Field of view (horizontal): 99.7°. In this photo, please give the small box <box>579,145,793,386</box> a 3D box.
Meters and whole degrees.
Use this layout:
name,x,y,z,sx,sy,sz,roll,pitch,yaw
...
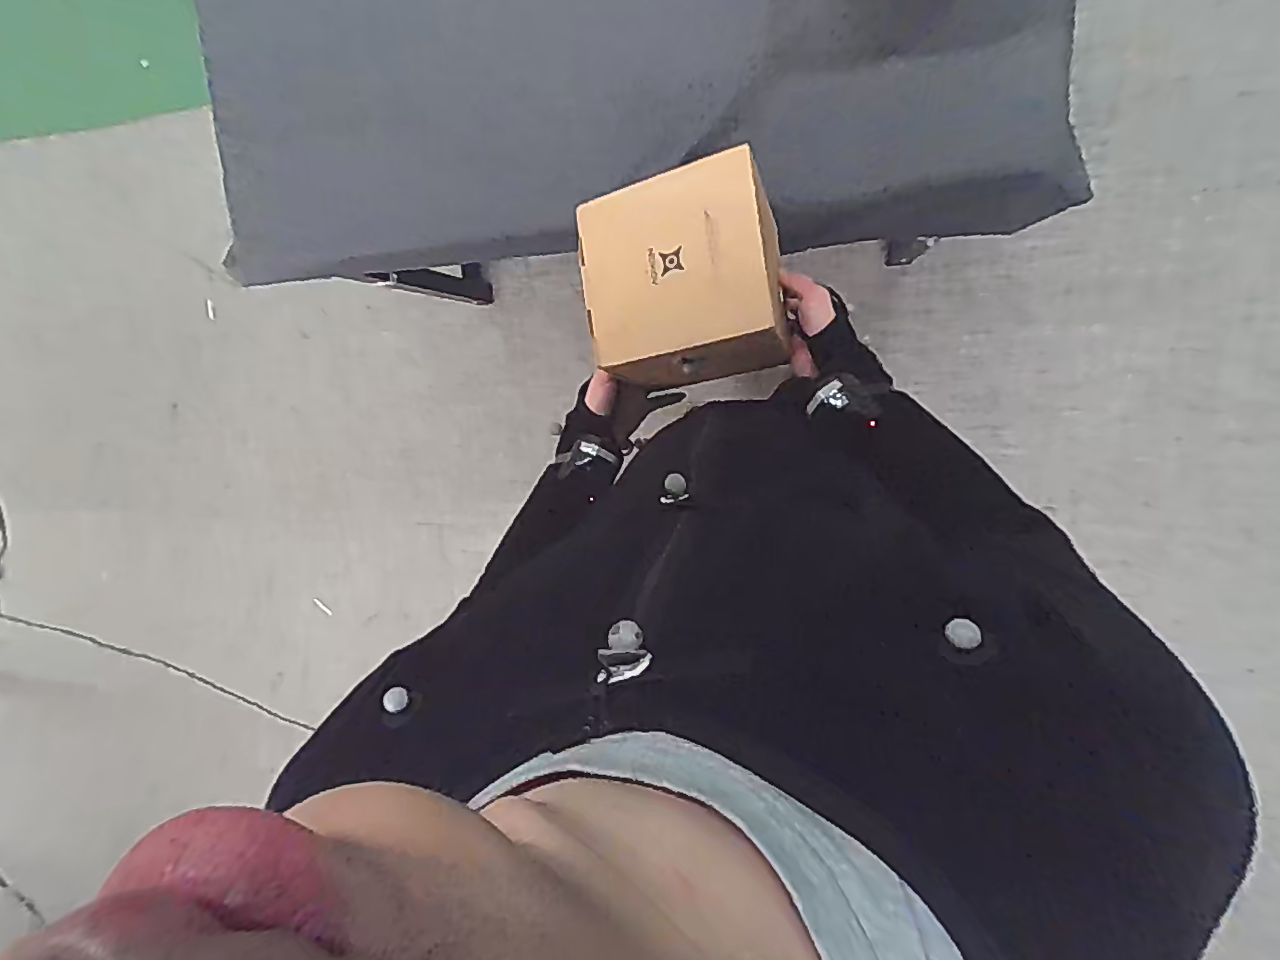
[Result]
name,x,y,z,sx,sy,sz,roll,pitch,yaw
small box,0.057,-0.204,0.574,0.179,0.176,0.168,-8,88,20
